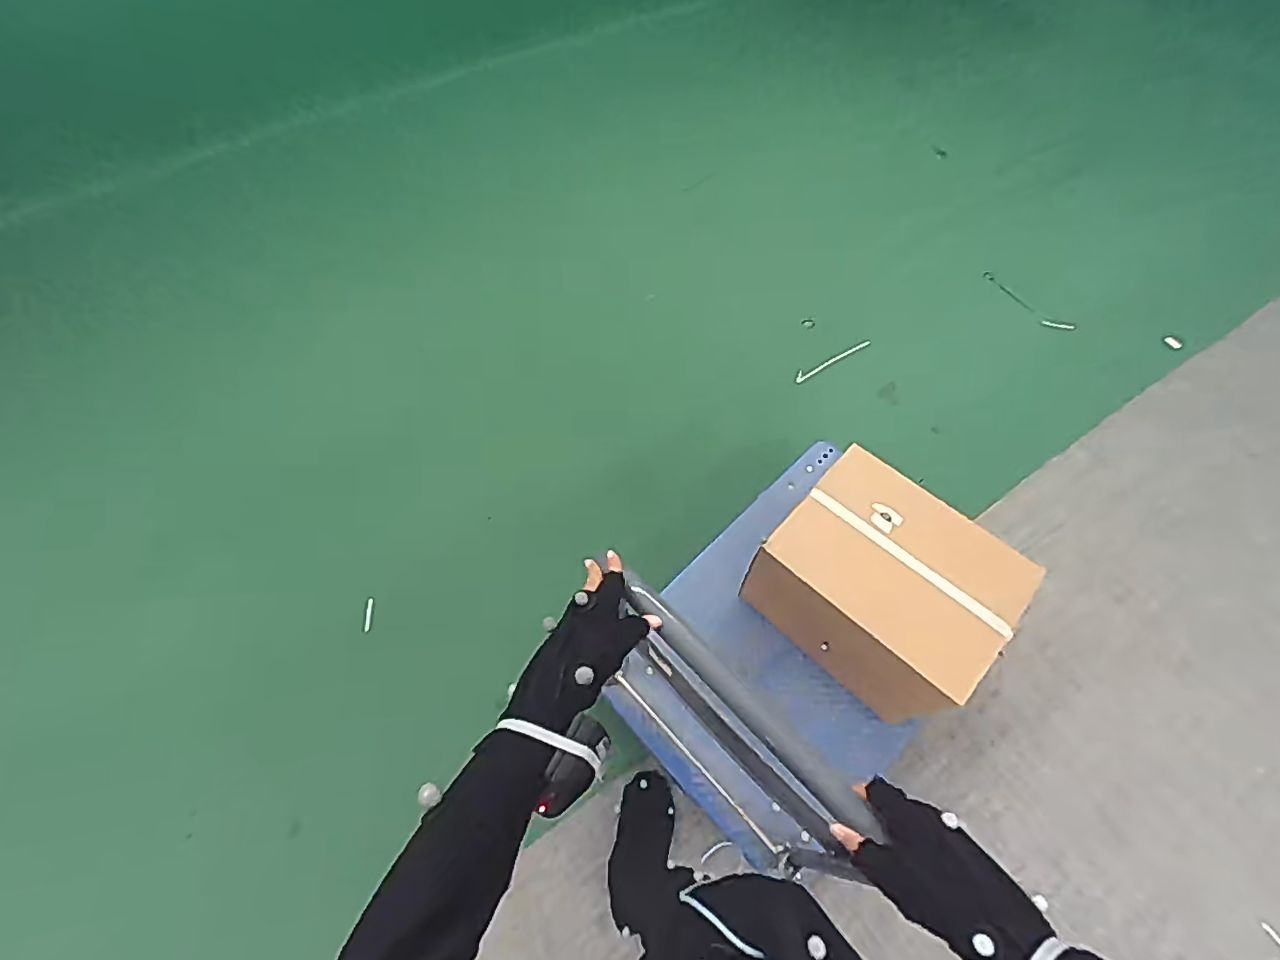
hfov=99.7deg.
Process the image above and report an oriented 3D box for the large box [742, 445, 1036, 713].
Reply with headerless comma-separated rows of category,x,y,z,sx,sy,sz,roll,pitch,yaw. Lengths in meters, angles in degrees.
large box,0.477,0.211,1.123,0.408,0.320,0.320,39,68,21
